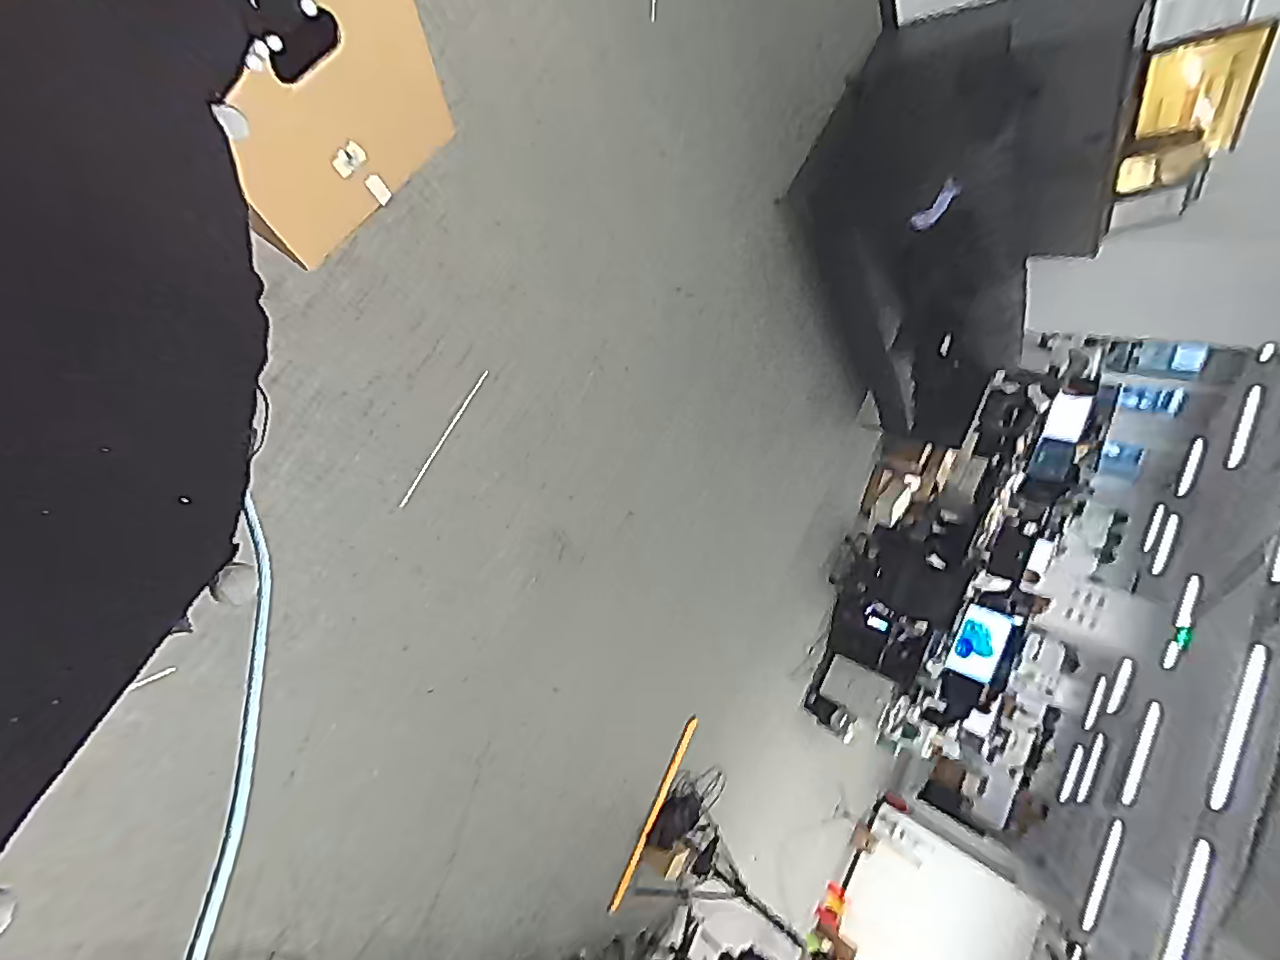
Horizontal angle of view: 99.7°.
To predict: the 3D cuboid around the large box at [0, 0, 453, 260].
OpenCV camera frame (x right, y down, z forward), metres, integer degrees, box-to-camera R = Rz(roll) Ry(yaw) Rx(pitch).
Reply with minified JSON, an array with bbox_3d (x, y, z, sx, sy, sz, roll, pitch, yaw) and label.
[{"bbox_3d":[-0.523,-0.568,0.679,0.320,0.408,0.320,-52,173,-14],"label":"large box"}]
